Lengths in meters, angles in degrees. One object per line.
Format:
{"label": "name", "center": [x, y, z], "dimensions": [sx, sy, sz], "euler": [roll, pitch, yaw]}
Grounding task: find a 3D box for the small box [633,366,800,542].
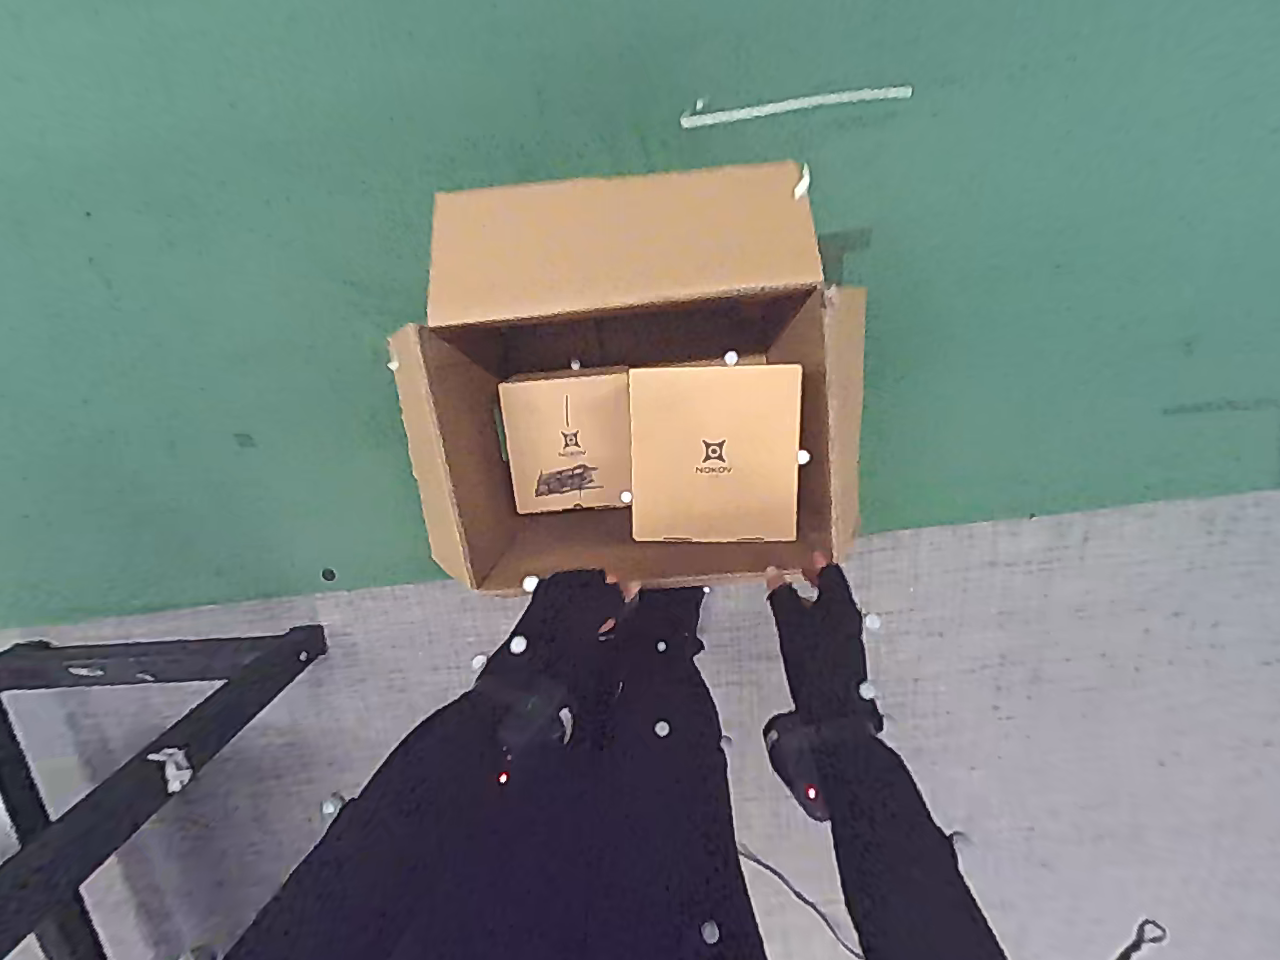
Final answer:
{"label": "small box", "center": [0.080, -0.035, 0.616], "dimensions": [0.168, 0.176, 0.179], "euler": [-1, 100, 5]}
